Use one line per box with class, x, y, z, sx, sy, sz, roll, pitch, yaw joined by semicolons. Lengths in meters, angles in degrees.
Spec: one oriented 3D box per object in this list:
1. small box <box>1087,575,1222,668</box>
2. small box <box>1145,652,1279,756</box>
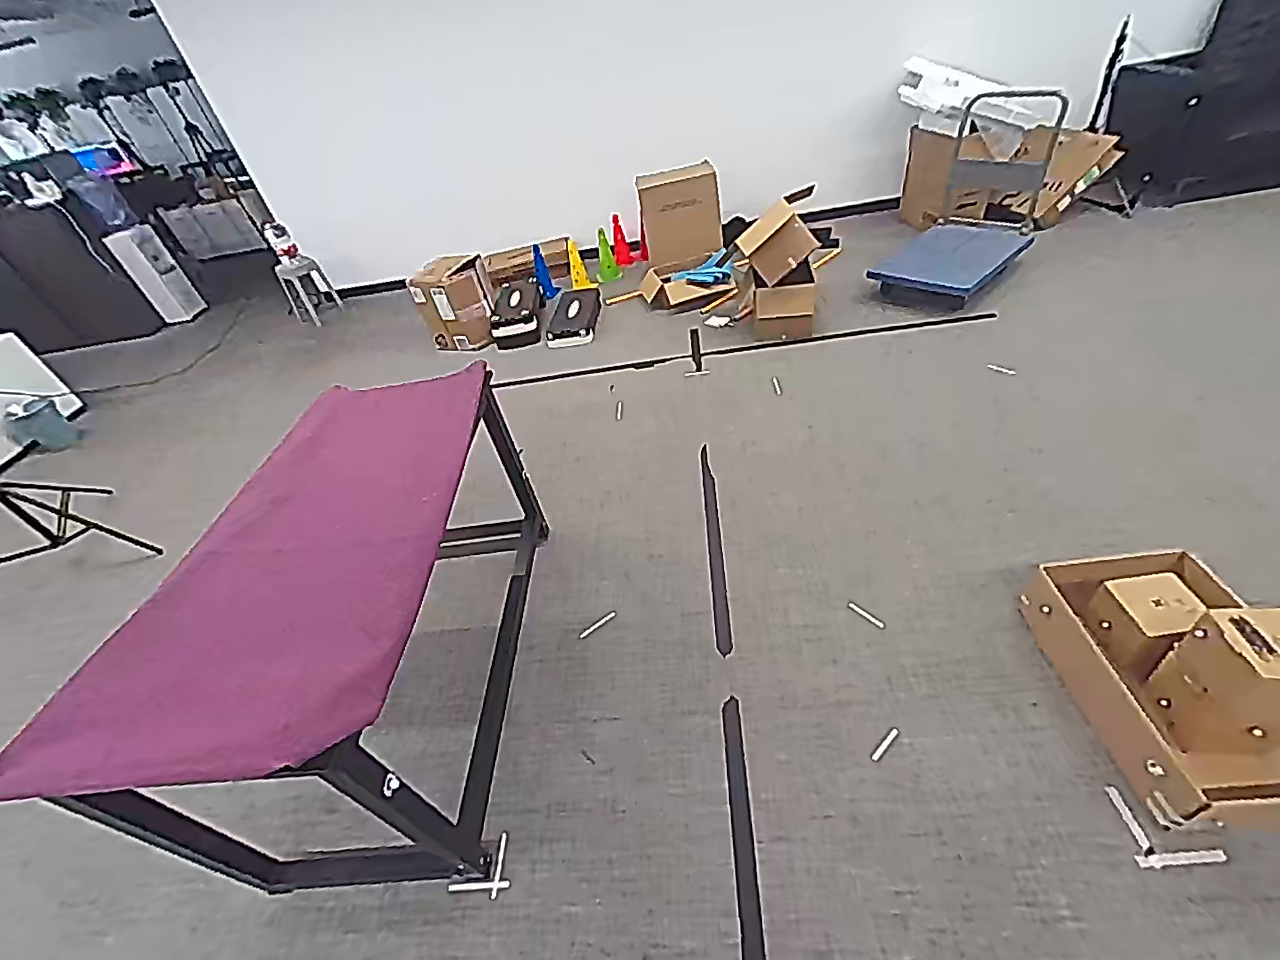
small box;1.309;0.370;1.399;0.179;0.176;0.168;-8;42;5
small box;1.330;0.513;1.237;0.179;0.176;0.168;-5;39;10
